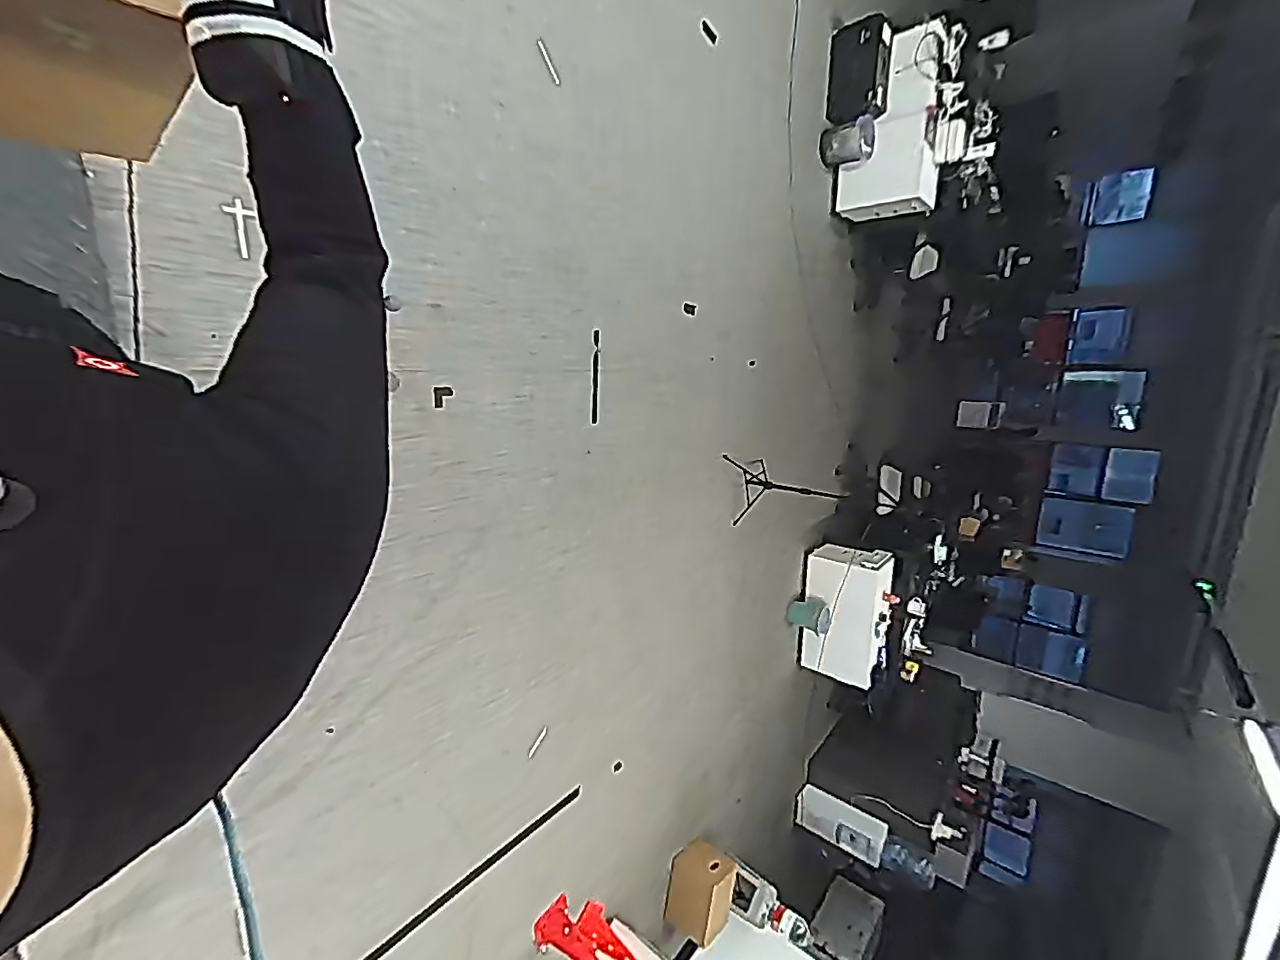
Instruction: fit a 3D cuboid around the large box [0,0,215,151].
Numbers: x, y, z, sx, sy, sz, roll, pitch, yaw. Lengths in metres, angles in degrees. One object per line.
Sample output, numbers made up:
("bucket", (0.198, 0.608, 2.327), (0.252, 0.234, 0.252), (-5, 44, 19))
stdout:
("large box", (-0.540, -0.434, 0.291), (0.408, 0.320, 0.320), (-15, 108, -47))
